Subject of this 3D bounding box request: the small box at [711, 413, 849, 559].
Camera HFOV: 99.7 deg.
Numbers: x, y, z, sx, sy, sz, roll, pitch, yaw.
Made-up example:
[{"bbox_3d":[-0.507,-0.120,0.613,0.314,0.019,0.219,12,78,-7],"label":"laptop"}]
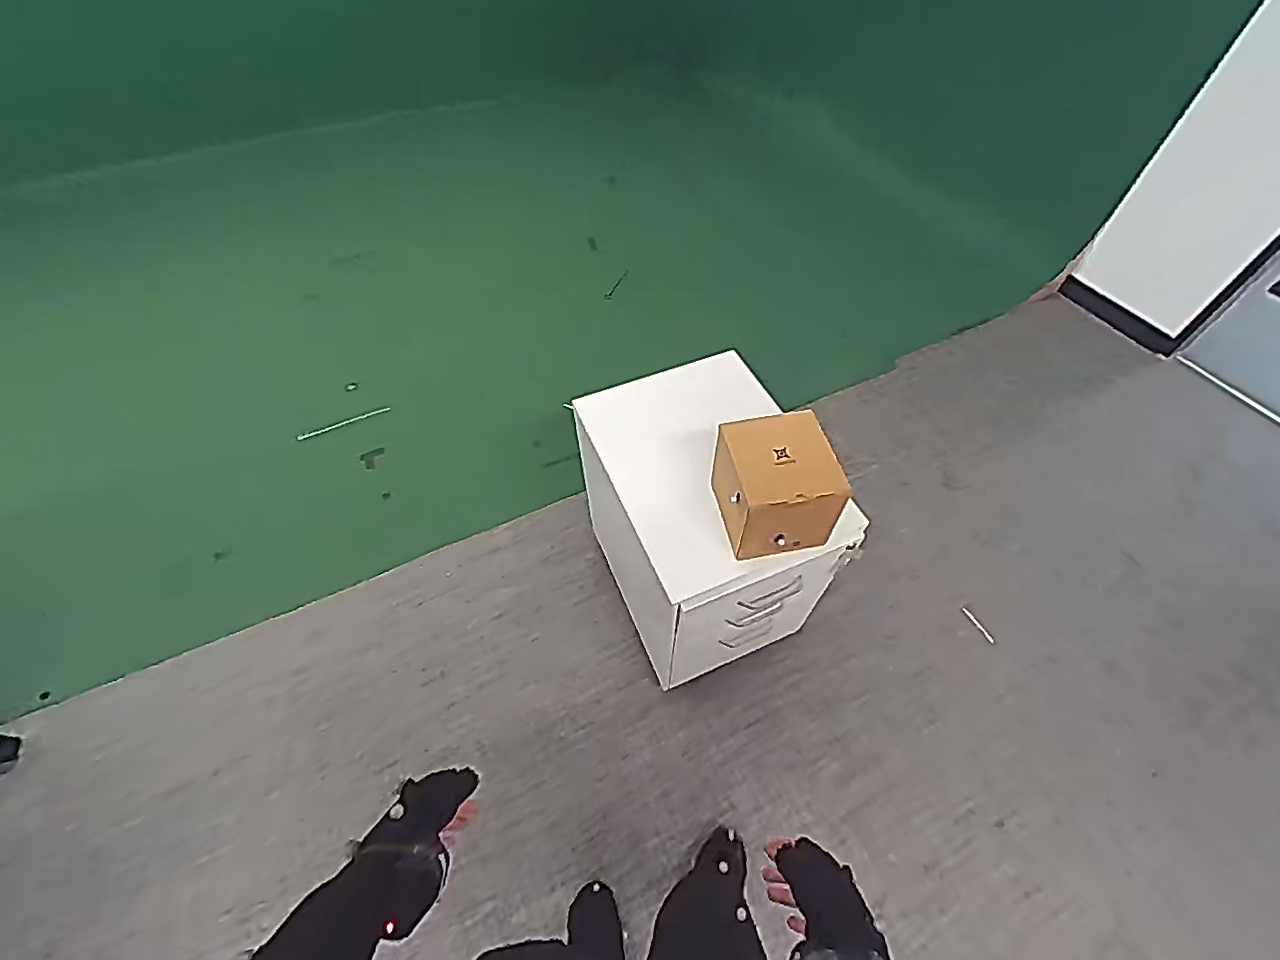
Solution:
[{"bbox_3d":[0.225,0.012,0.927,0.168,0.176,0.179,-9,54,-5],"label":"small box"}]
